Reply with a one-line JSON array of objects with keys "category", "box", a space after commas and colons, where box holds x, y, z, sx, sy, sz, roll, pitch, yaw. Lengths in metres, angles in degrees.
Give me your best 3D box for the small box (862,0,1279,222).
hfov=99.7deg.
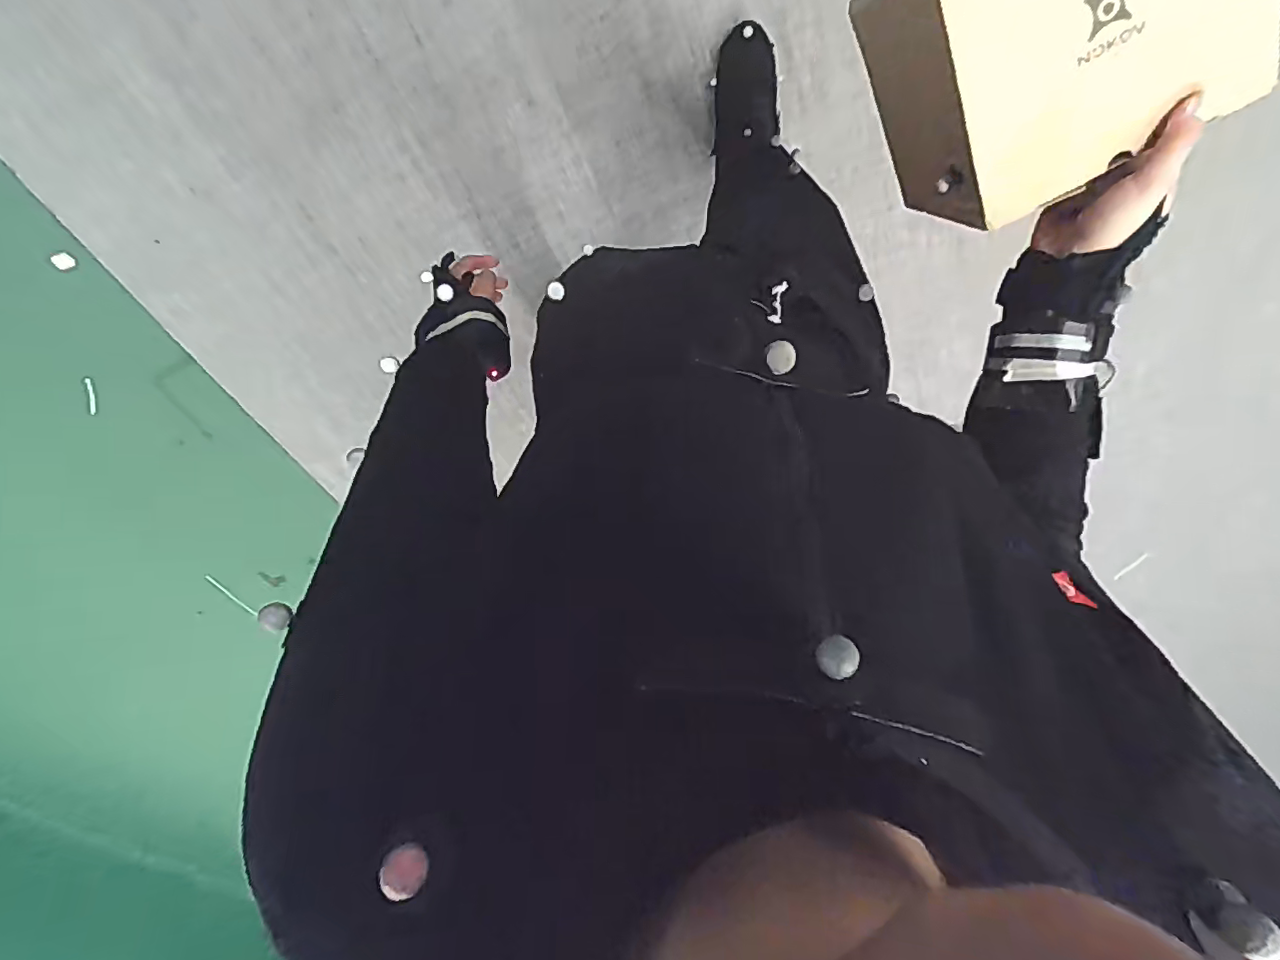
[{"category": "small box", "box": [0.280, -0.314, 0.381, 0.168, 0.176, 0.179, -25, 118, 18]}]
